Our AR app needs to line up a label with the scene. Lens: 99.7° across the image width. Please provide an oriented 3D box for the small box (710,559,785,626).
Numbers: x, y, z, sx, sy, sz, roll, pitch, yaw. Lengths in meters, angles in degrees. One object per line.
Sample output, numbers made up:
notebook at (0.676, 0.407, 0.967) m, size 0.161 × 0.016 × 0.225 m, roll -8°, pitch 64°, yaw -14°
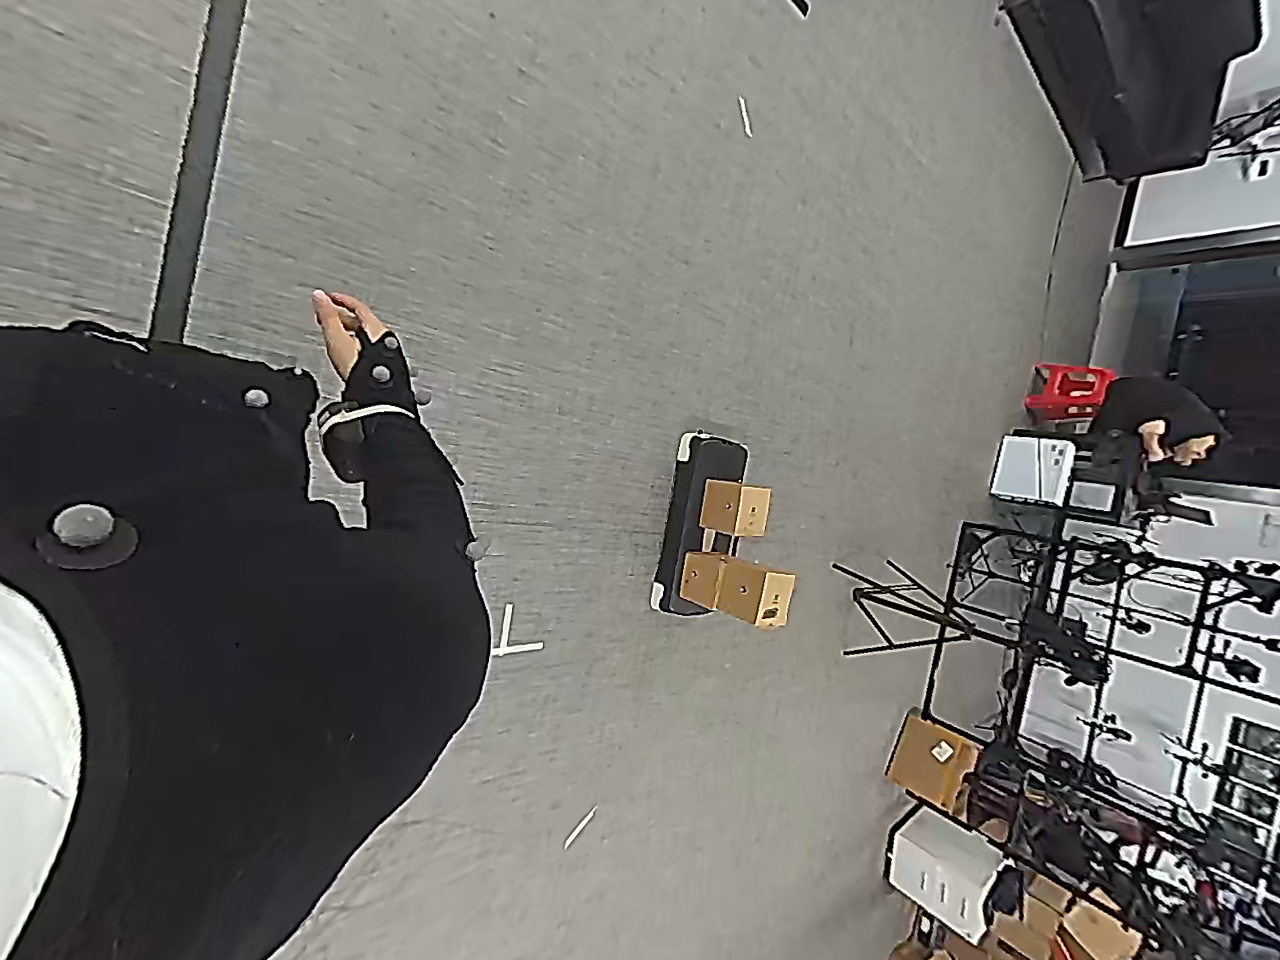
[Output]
small box at (0.357, 0.378, 1.817) m, size 0.168 × 0.176 × 0.179 m, roll 14°, pitch 88°, yaw -41°

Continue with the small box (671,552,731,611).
small box at (0.240, 0.357, 1.931) m, size 0.179 × 0.176 × 0.168 m, roll 7°, pitch 94°, yaw -41°
